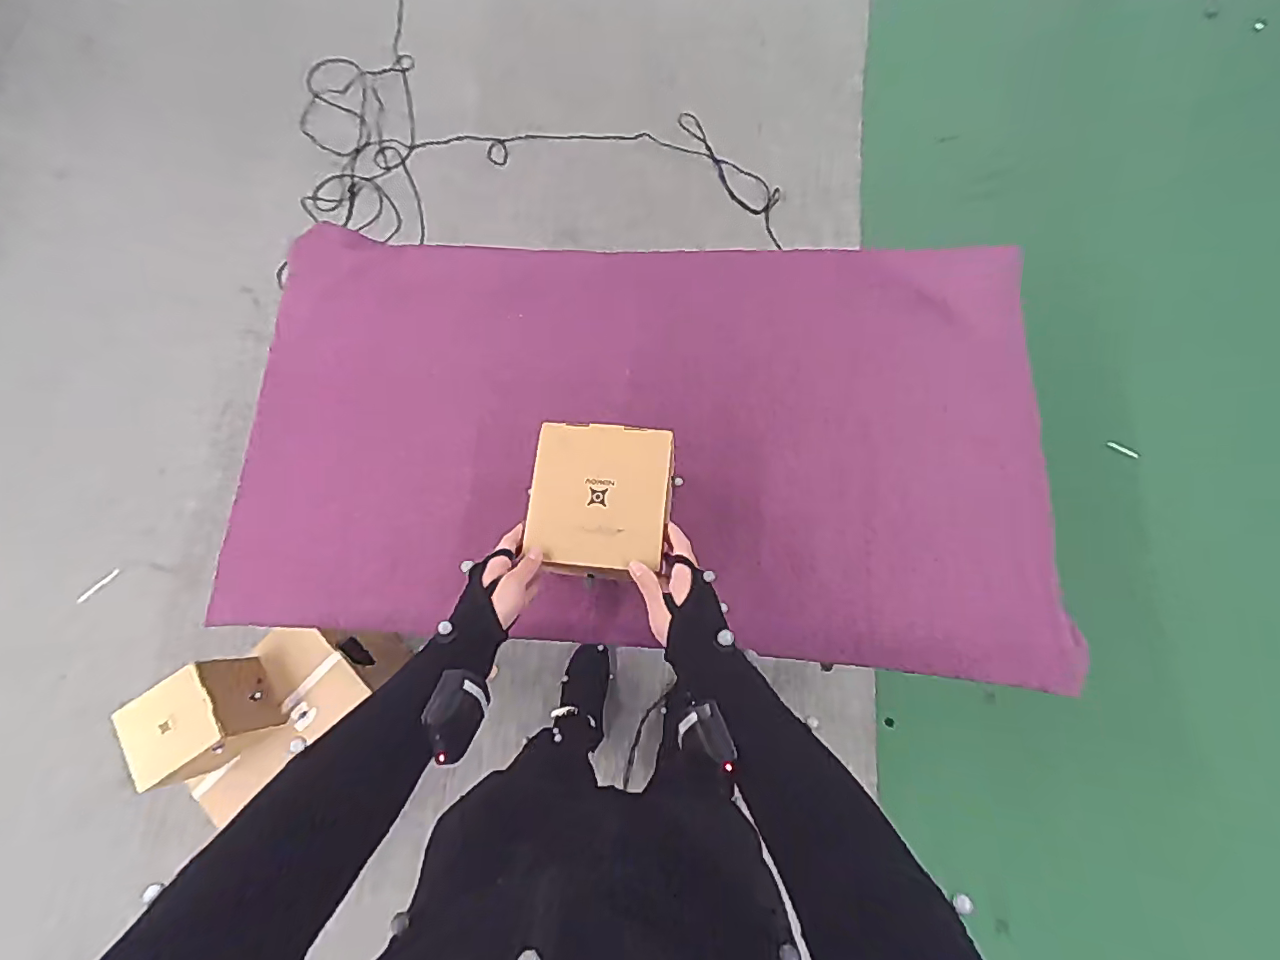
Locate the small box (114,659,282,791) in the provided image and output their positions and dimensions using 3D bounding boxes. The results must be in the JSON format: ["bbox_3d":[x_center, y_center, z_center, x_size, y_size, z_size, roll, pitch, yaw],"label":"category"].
[{"bbox_3d":[-0.879,0.481,1.089,0.179,0.176,0.168,-34,74,-5],"label":"small box"}]

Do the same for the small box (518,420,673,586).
[{"bbox_3d":[-0.046,0.038,0.712,0.168,0.176,0.179,5,75,6],"label":"small box"}]

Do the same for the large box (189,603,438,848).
[{"bbox_3d":[-0.789,0.559,1.315,0.320,0.320,0.408,43,81,12],"label":"large box"}]
